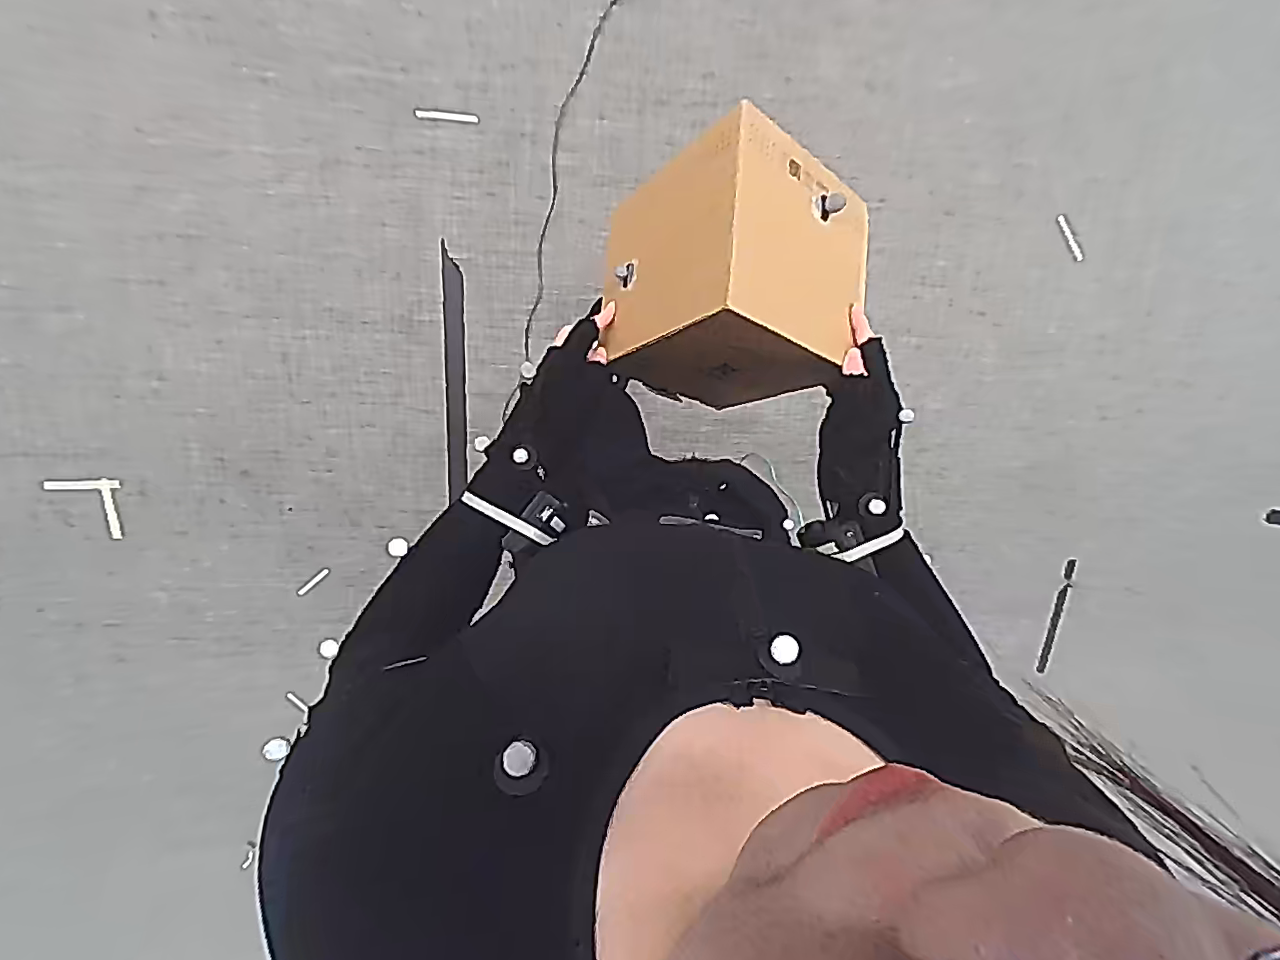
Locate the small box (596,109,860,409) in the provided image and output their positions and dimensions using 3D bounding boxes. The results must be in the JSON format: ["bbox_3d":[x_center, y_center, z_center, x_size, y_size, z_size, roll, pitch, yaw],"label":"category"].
[{"bbox_3d":[0.082,-0.180,0.498,0.168,0.179,0.176,12,79,-36],"label":"small box"}]
